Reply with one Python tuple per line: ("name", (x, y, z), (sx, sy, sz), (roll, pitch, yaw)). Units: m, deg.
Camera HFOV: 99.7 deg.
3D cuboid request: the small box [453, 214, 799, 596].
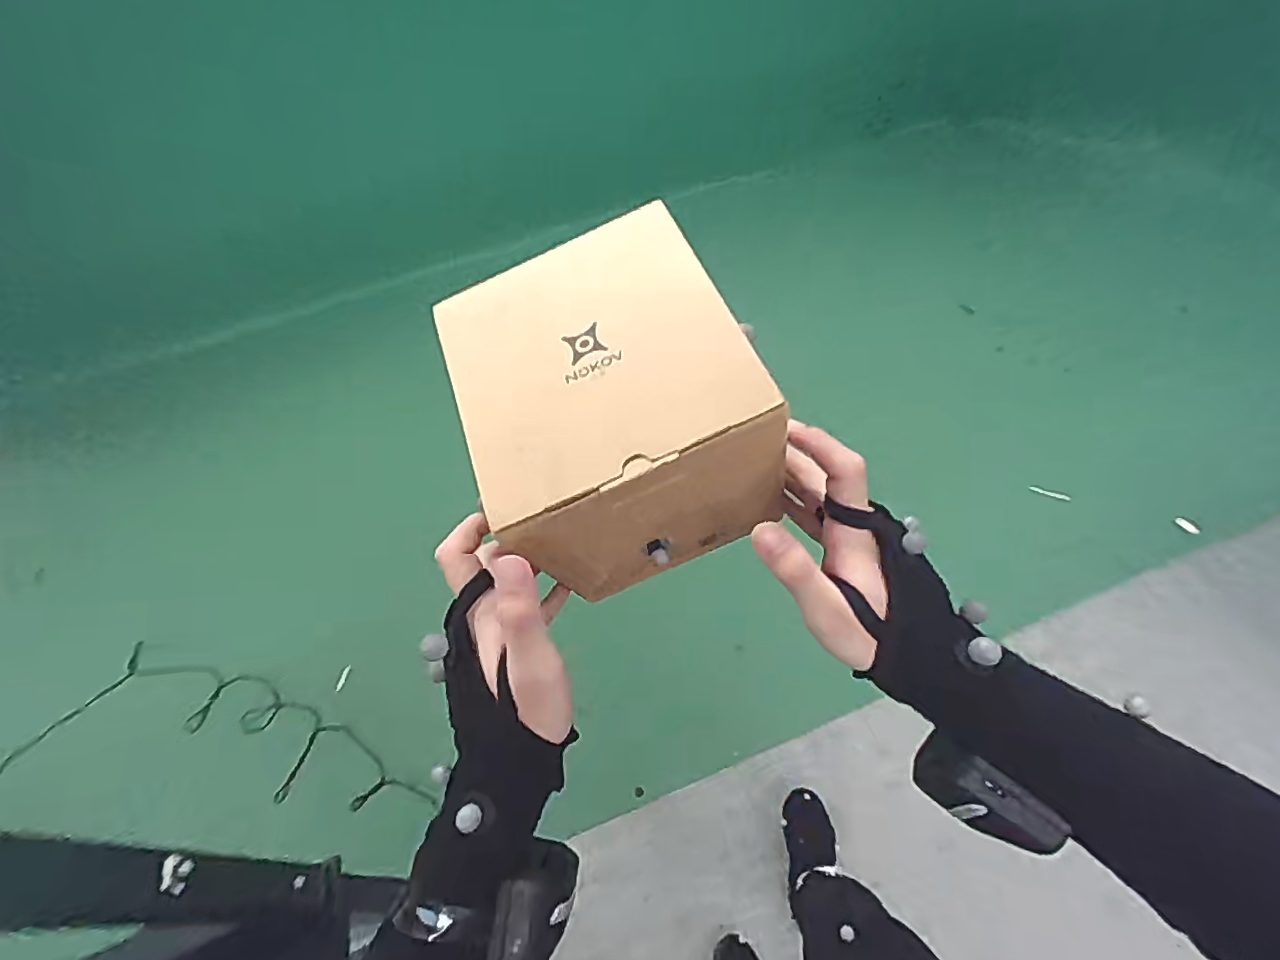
("small box", (-0.005, -0.039, 0.385), (0.168, 0.176, 0.179), (-24, 63, 3))
